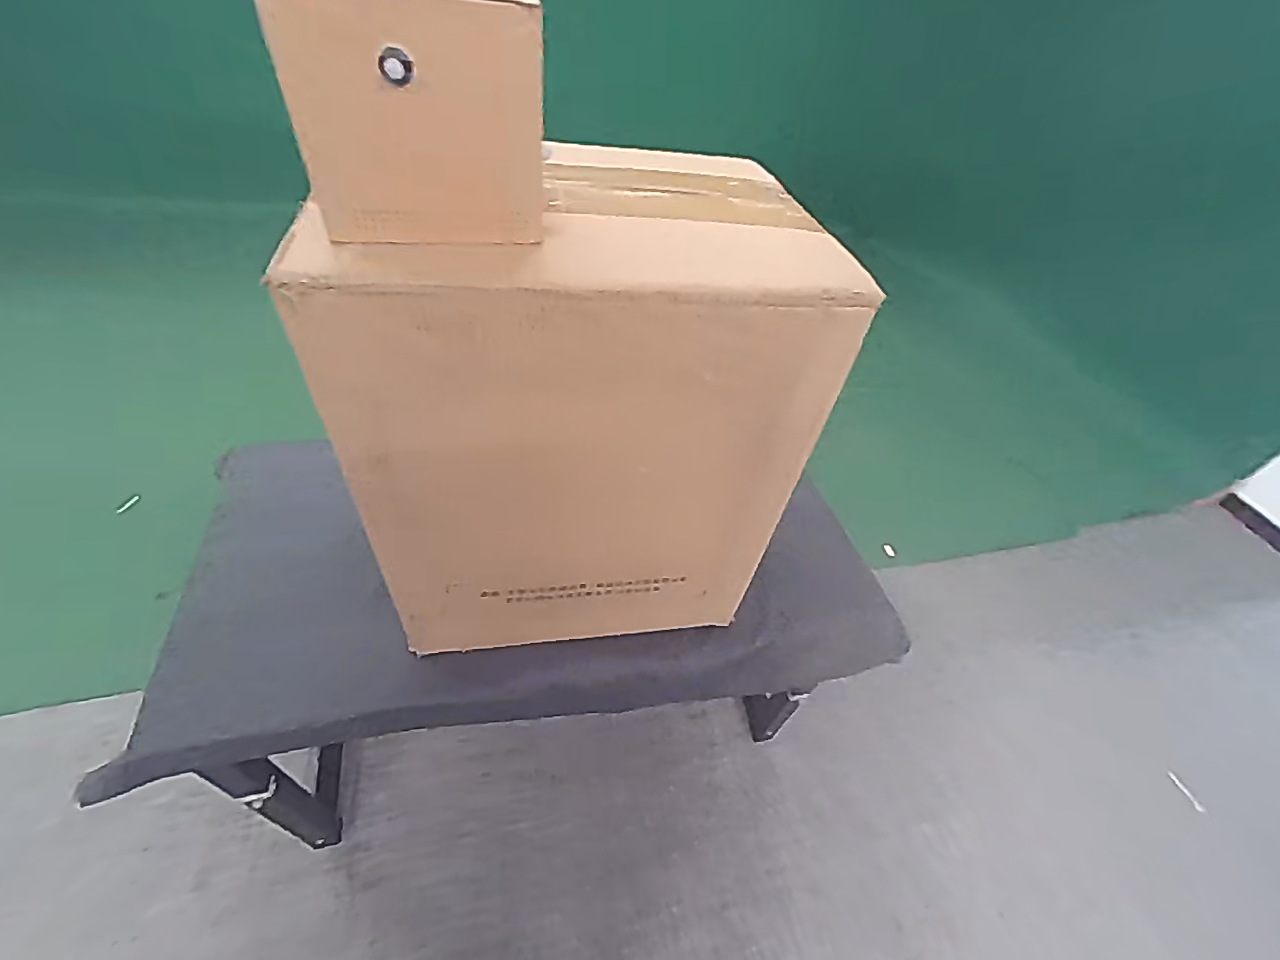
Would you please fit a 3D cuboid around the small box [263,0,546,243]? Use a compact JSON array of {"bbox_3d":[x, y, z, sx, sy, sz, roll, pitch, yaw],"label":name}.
[{"bbox_3d":[-0.175,-0.322,0.462,0.179,0.176,0.168,-3,52,-10],"label":"small box"}]
